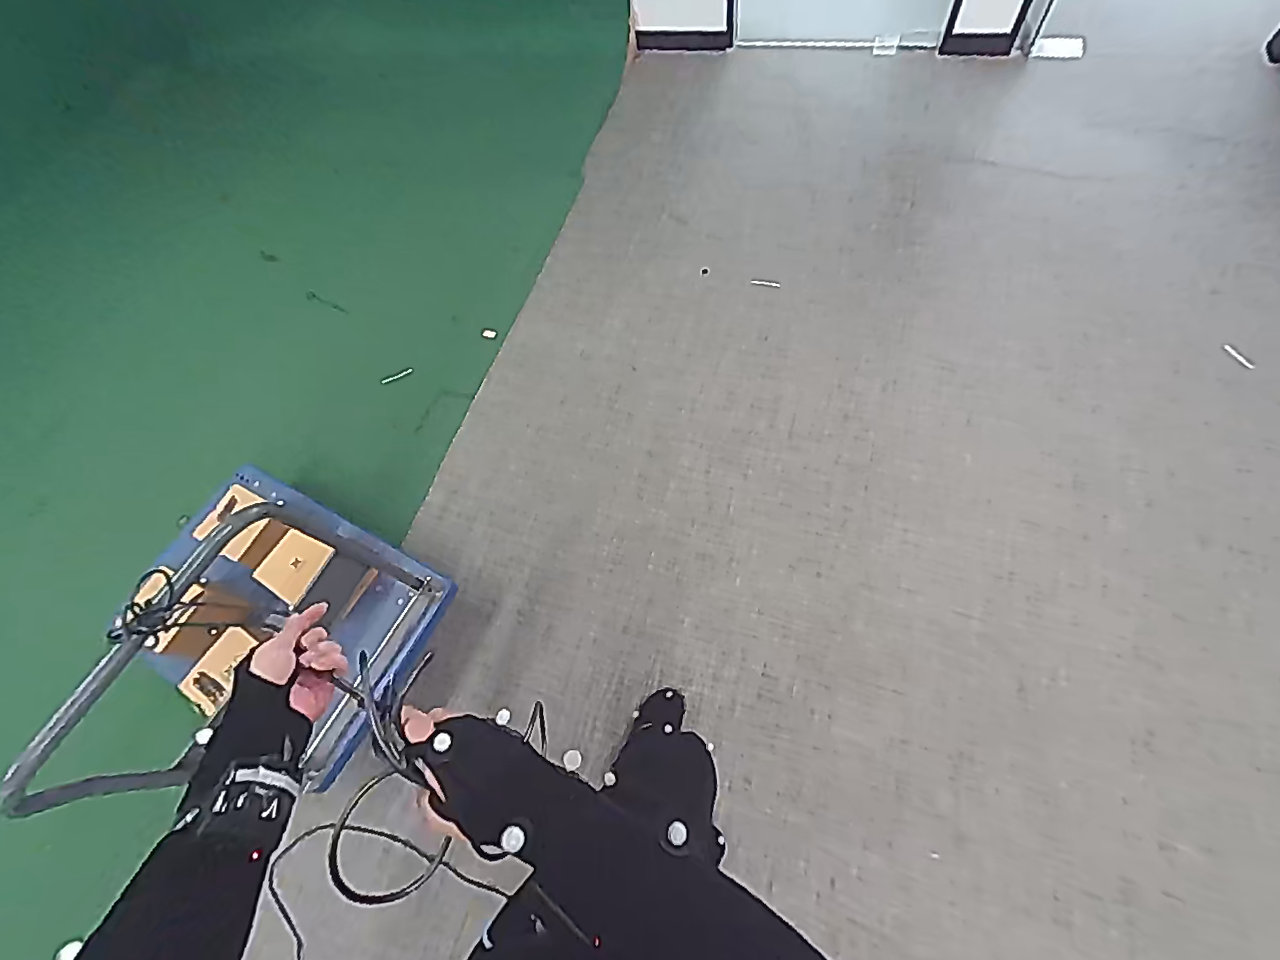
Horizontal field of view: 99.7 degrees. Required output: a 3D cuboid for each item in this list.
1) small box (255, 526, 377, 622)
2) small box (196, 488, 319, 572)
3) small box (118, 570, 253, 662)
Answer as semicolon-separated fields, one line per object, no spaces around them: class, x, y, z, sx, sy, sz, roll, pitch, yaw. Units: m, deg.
small box;-0.837;0.251;1.412;0.179;0.176;0.168;27;72;18
small box;-1.044;0.151;1.488;0.179;0.176;0.168;23;71;17
small box;-1.171;0.360;1.409;0.179;0.176;0.168;21;69;17
